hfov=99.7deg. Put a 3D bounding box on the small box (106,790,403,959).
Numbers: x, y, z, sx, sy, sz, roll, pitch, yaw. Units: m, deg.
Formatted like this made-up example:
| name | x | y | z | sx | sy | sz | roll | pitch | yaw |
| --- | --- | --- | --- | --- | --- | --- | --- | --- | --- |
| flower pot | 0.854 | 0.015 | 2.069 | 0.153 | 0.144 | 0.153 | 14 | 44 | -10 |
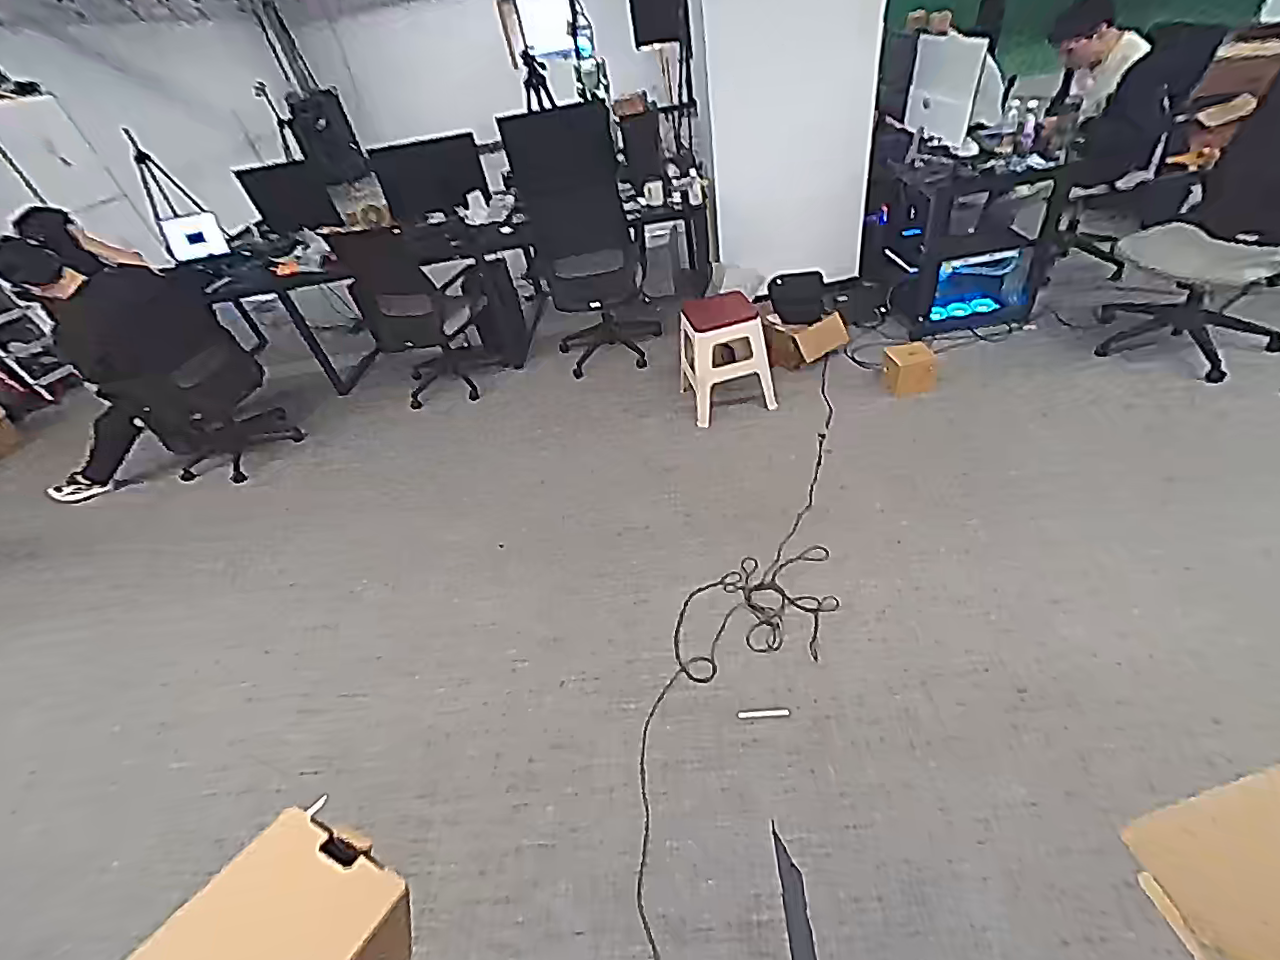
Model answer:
| name | x | y | z | sx | sy | sz | roll | pitch | yaw |
| --- | --- | --- | --- | --- | --- | --- | --- | --- | --- |
| small box | -0.355 | 0.466 | 0.533 | 0.168 | 0.176 | 0.179 | 21 | 30 | 16 |
